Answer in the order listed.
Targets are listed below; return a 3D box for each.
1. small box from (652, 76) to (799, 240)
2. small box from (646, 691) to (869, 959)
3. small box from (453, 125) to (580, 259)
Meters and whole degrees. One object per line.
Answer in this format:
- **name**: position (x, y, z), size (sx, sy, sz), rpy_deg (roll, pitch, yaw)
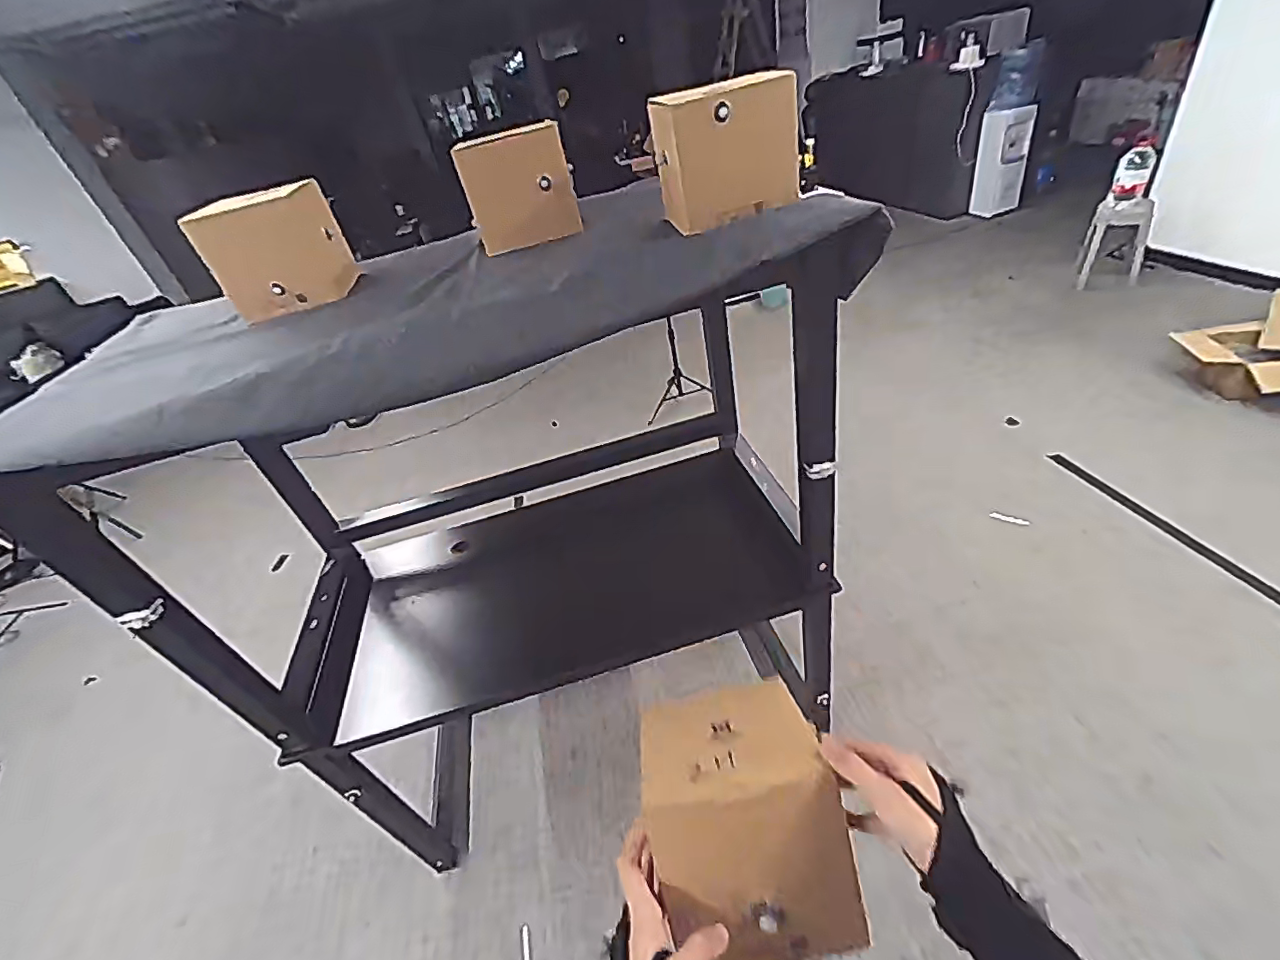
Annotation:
- **small box**: position (0.122, -0.466, 0.791), size (0.168, 0.176, 0.179), rpy_deg (-15, 36, 0)
- **small box**: position (0.102, 0.341, 0.534), size (0.168, 0.176, 0.179), rpy_deg (-13, 5, 1)
- **small box**: position (-0.211, -0.515, 0.966), size (0.179, 0.176, 0.168), rpy_deg (-15, 36, -2)
